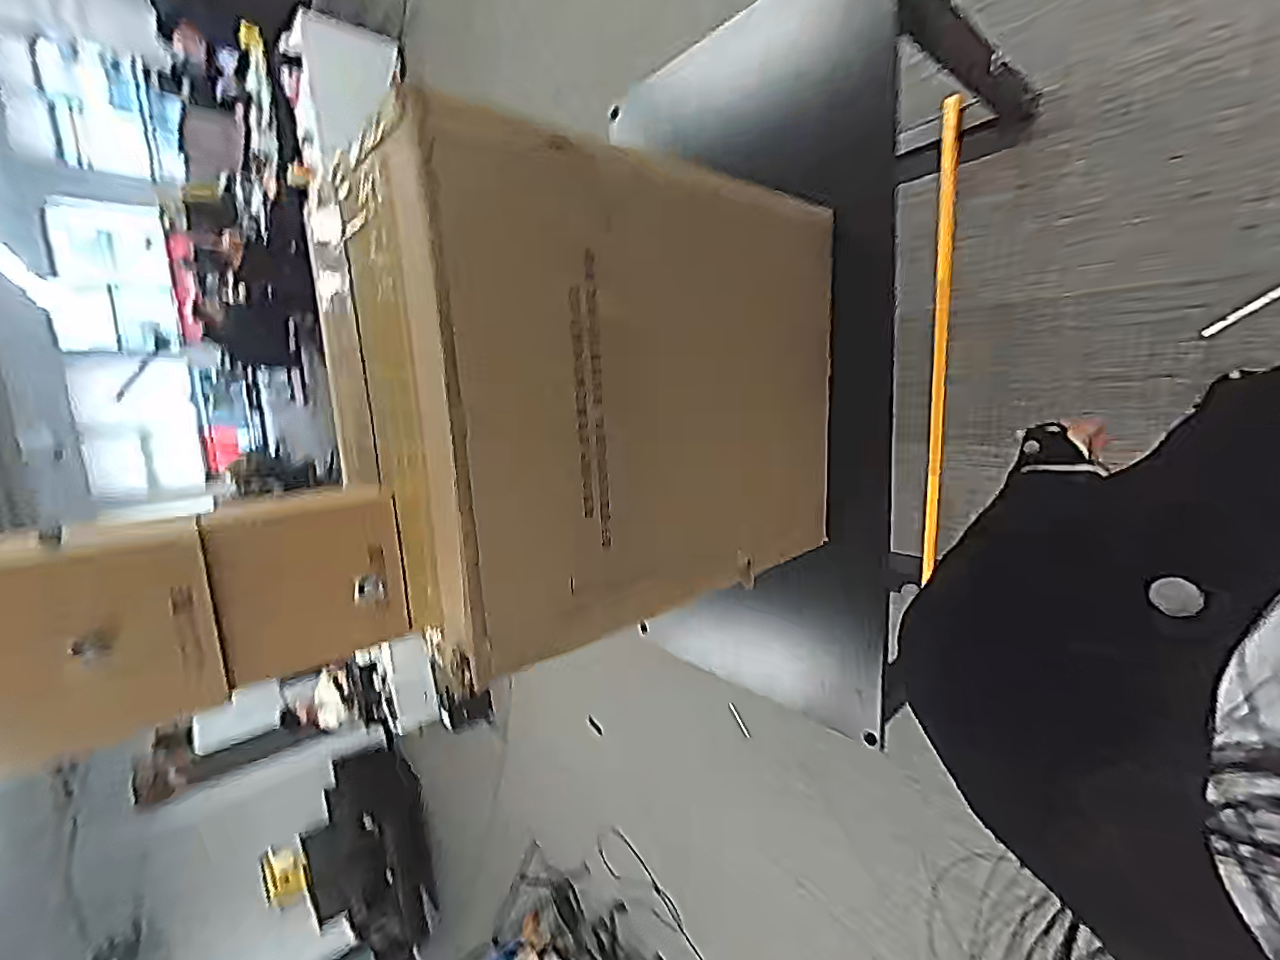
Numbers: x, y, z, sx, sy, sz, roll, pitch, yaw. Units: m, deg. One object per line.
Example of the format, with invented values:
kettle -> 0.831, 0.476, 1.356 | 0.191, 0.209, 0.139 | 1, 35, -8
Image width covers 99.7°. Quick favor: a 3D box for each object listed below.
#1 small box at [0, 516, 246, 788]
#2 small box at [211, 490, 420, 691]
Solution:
small box -> -0.483, 0.134, 0.502 | 0.179, 0.176, 0.168 | 4, 102, 50
small box -> -0.367, 0.106, 0.616 | 0.179, 0.176, 0.168 | 2, 100, 50
